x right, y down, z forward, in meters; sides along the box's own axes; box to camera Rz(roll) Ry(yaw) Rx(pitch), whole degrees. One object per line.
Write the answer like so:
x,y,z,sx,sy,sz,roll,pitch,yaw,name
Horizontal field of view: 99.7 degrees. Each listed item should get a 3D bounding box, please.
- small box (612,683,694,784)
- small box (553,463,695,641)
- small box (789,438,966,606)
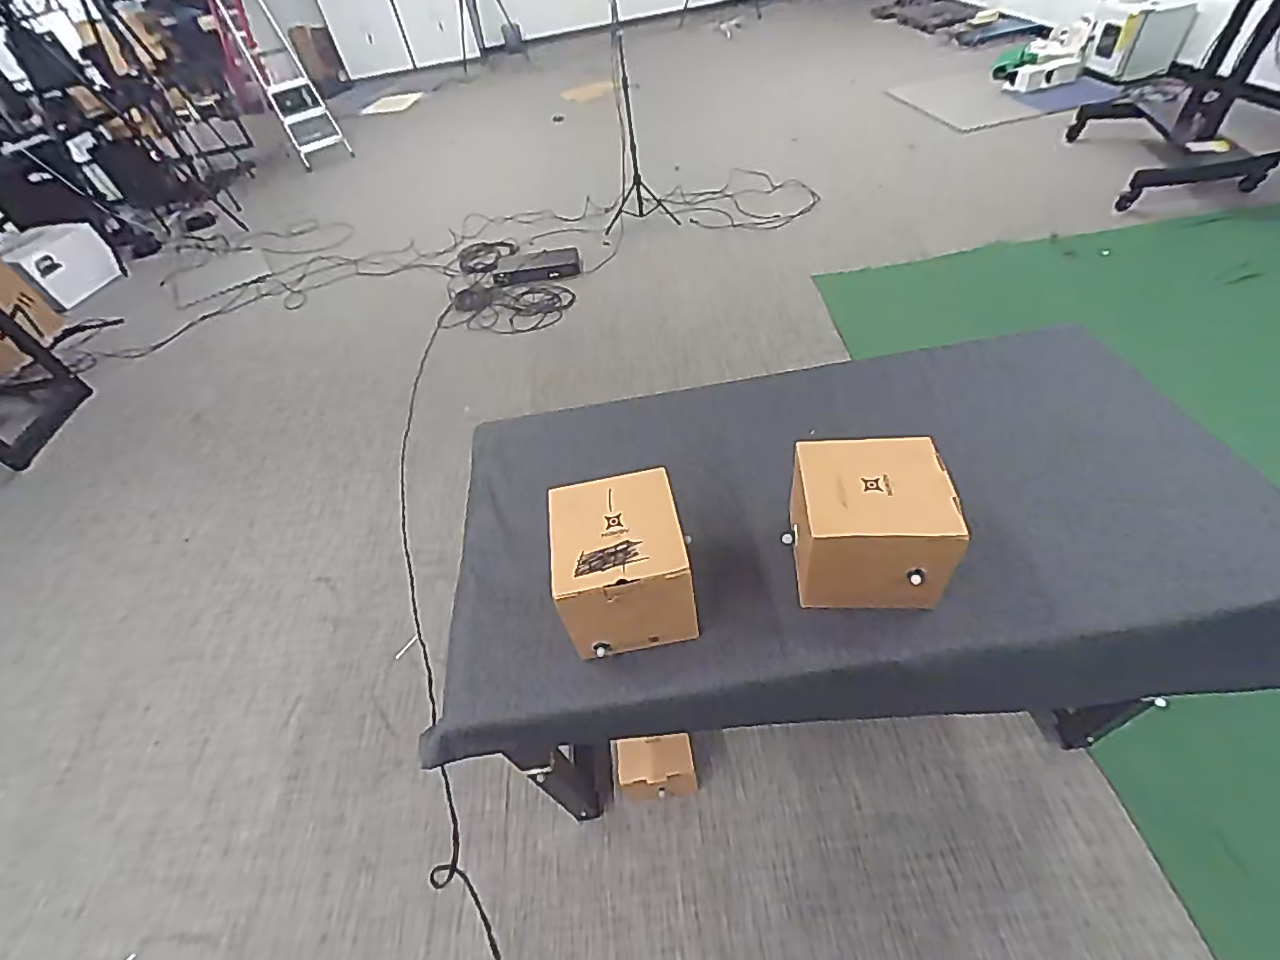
0.033,0.607,1.283,0.168,0.176,0.179,-9,49,2,small box
-0.020,0.106,0.750,0.168,0.176,0.179,-10,47,0,small box
0.307,0.061,0.741,0.179,0.176,0.168,-2,48,9,small box
